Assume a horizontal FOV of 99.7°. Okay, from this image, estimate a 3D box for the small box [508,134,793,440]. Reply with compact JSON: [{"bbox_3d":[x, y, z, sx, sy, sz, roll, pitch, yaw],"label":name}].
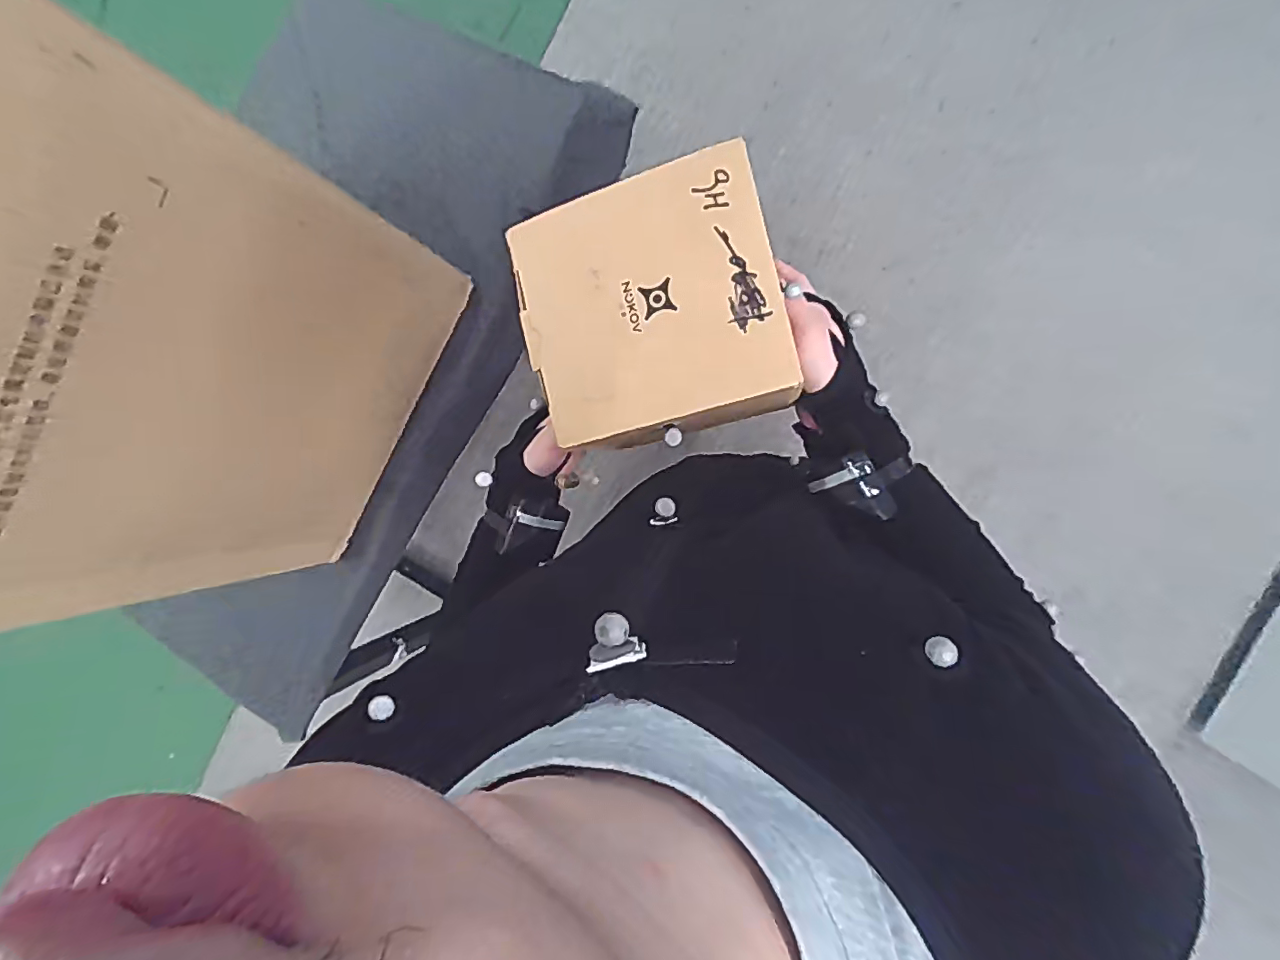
[{"bbox_3d":[0.022,-0.130,0.445,0.179,0.176,0.168,-13,90,15],"label":"small box"}]
